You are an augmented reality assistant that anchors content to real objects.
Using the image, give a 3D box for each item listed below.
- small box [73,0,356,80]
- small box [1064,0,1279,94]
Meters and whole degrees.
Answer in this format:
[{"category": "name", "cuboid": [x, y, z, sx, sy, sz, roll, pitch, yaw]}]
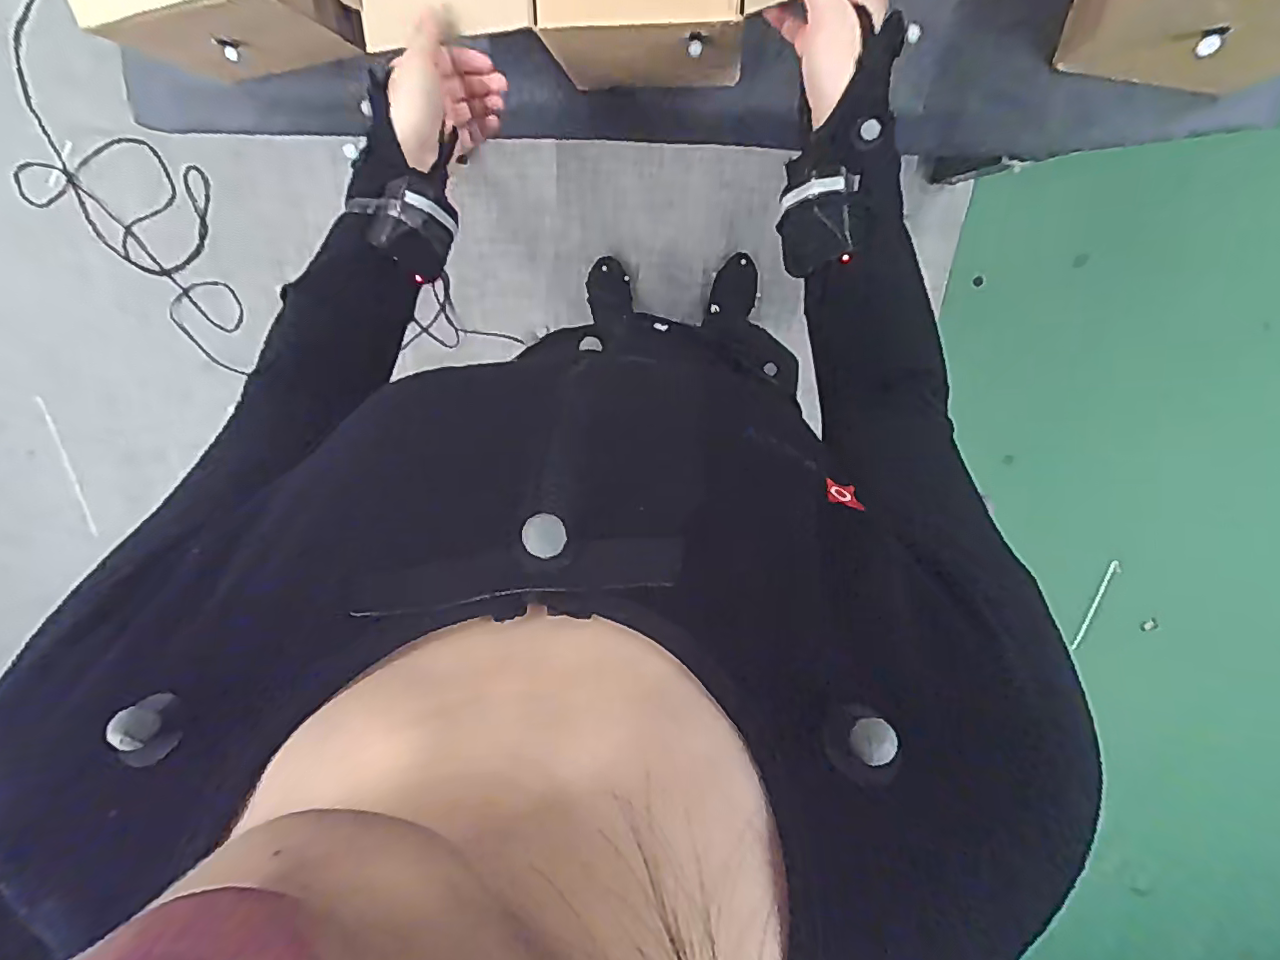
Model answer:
[{"category": "small box", "cuboid": [-0.395, -0.498, 0.495, 0.179, 0.176, 0.168, -5, 113, 8]}, {"category": "small box", "cuboid": [0.497, -0.437, 0.428, 0.179, 0.176, 0.168, 11, 110, 2]}]
